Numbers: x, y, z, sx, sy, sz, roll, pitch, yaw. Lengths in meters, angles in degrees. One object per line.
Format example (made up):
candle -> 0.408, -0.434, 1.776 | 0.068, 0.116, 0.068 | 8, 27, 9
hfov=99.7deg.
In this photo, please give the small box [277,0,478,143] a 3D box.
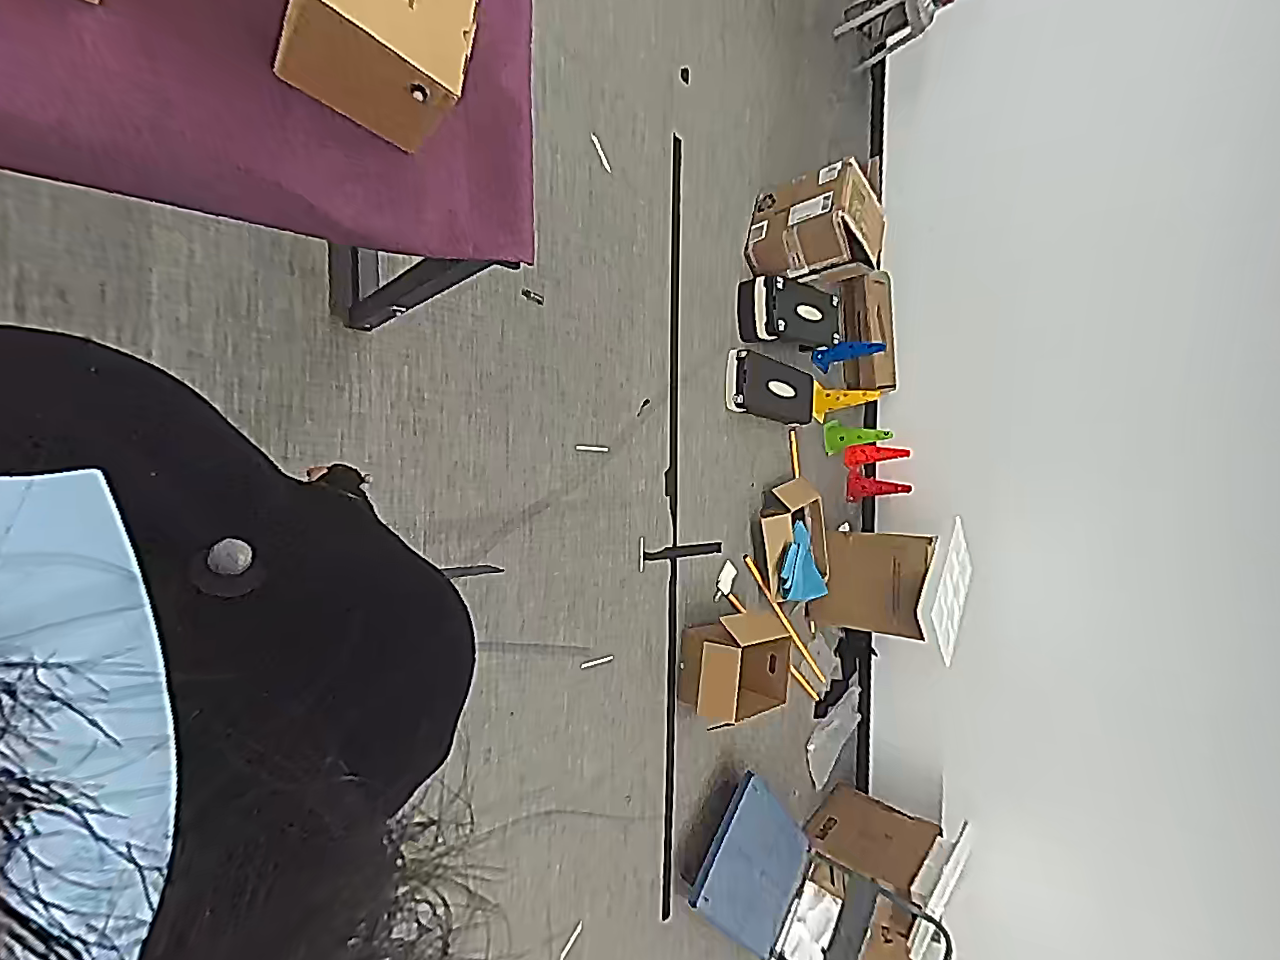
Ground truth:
small box -> -0.329, -0.570, 0.677 | 0.179, 0.176, 0.168 | 13, 82, -44
